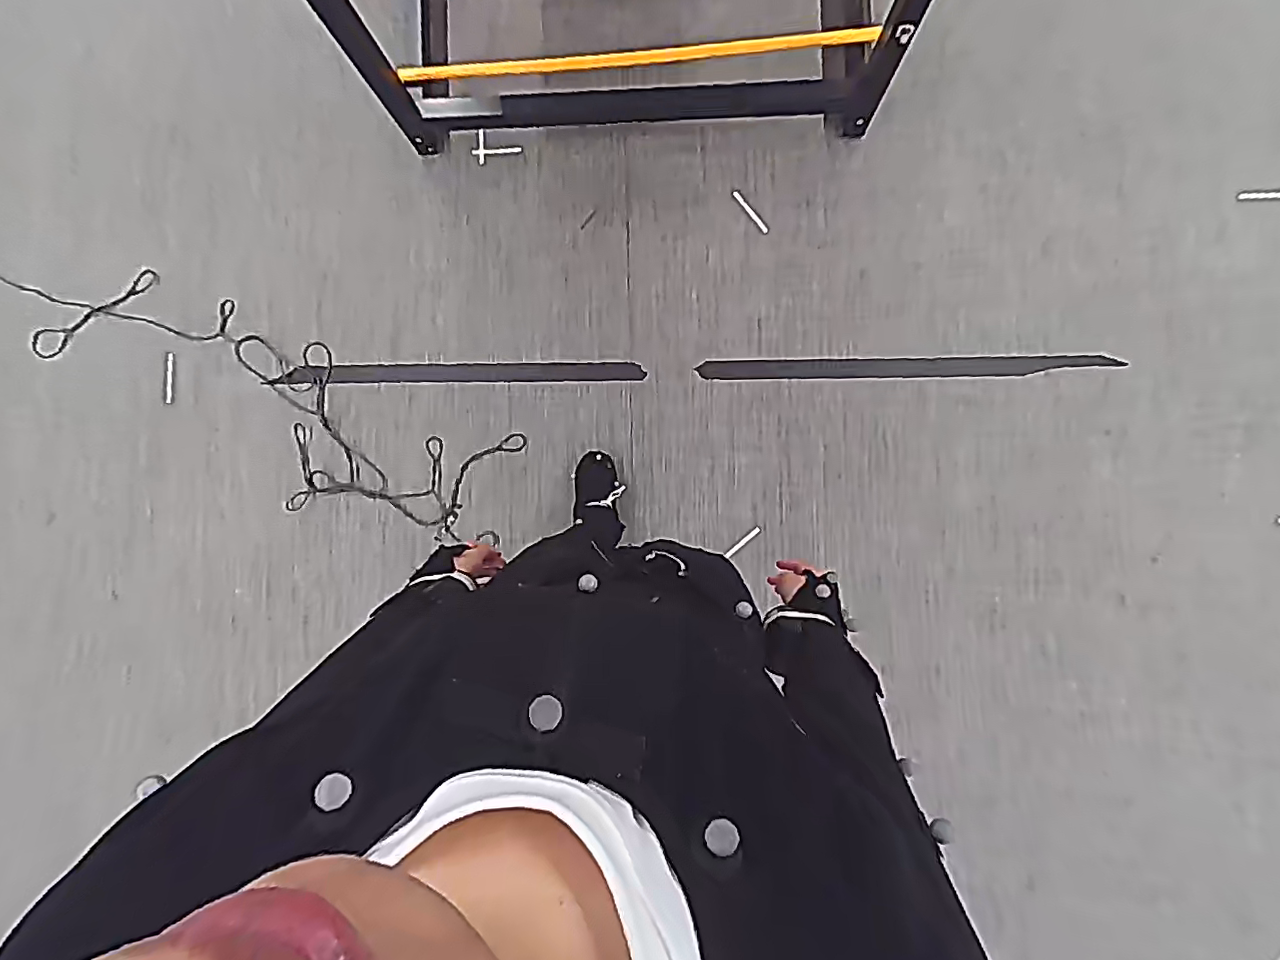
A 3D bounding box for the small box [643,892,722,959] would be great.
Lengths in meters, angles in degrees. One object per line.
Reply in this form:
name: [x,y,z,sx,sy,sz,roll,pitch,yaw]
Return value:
small box: [0.100,1.118,1.281,0.179,0.176,0.168,-2,88,2]
